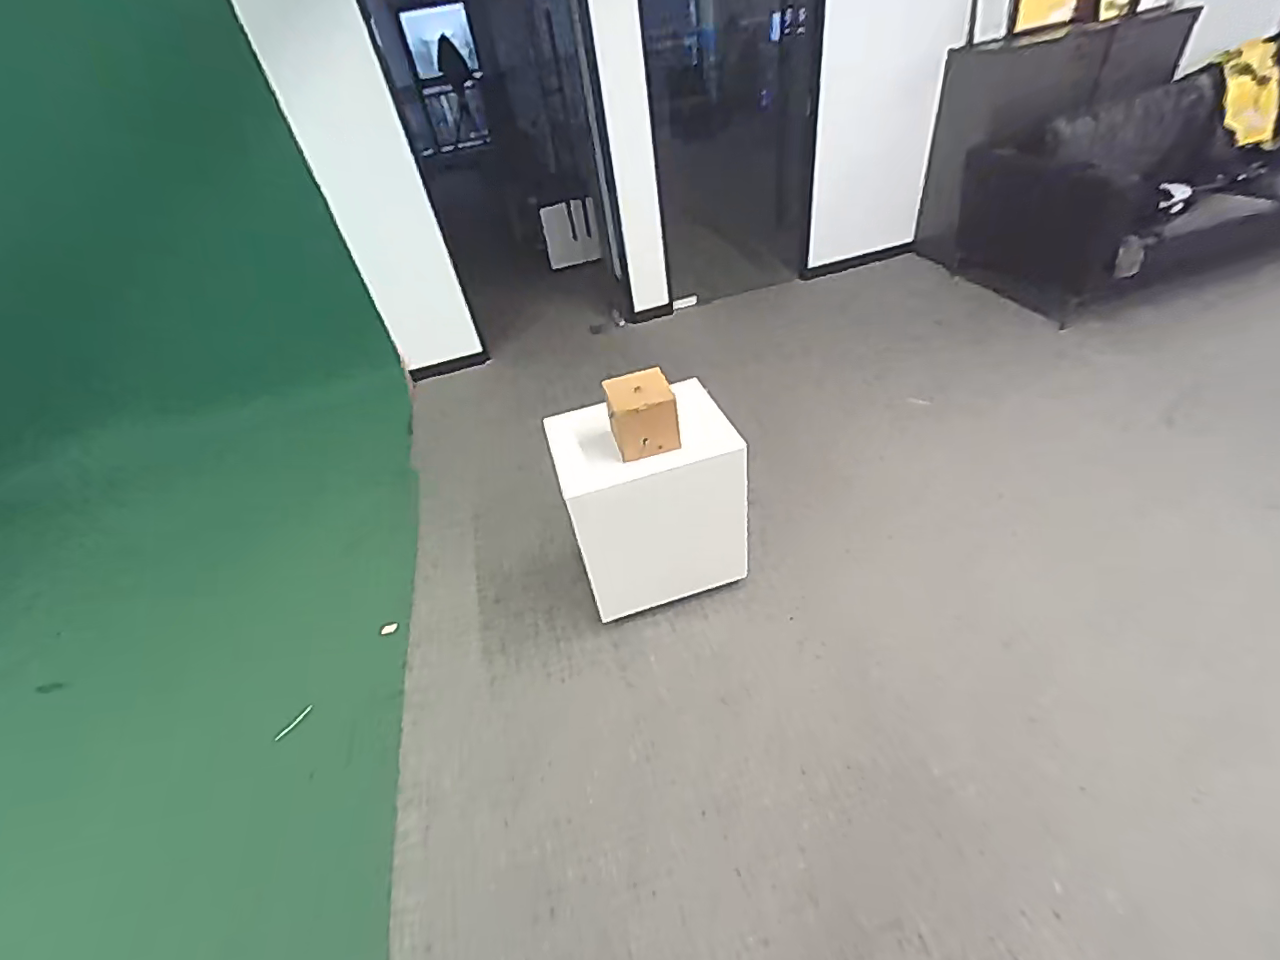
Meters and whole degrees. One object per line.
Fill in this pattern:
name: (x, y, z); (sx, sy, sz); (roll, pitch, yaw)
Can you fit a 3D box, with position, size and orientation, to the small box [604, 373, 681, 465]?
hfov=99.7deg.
small box: (0.006, -0.167, 1.483); (0.168, 0.176, 0.179); (-15, 39, -6)
